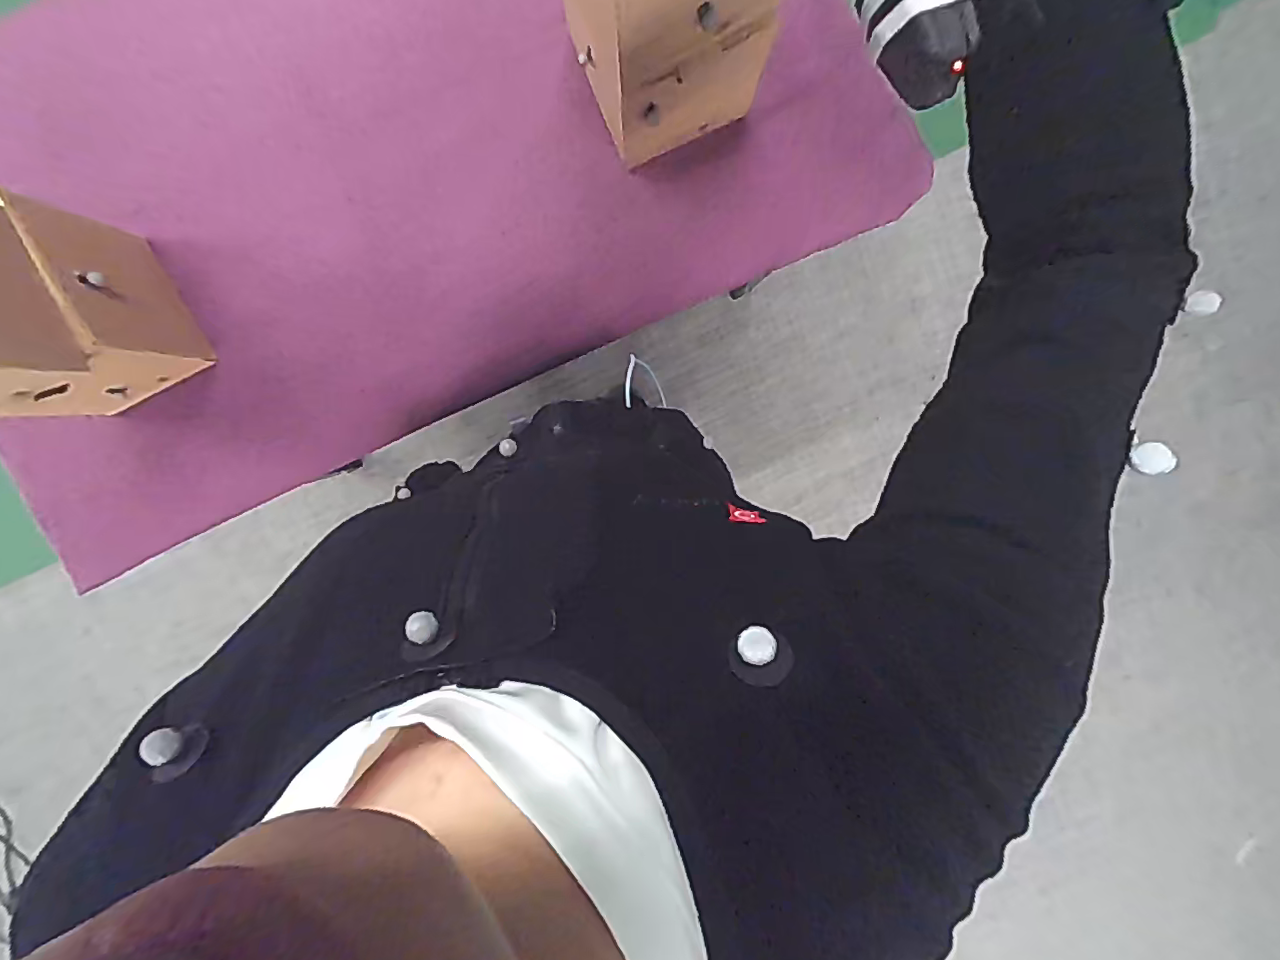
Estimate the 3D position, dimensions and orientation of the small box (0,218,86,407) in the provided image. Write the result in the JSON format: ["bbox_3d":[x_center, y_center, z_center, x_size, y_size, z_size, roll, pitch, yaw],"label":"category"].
[{"bbox_3d":[-0.662,-0.146,0.469,0.168,0.176,0.179,-21,98,1],"label":"small box"}]

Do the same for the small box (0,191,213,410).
[{"bbox_3d":[-0.665,-0.188,0.628,0.168,0.176,0.179,-26,99,2],"label":"small box"}]

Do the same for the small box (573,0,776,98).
[{"bbox_3d":[0.015,-0.465,0.431,0.168,0.176,0.179,-26,97,4],"label":"small box"}]
